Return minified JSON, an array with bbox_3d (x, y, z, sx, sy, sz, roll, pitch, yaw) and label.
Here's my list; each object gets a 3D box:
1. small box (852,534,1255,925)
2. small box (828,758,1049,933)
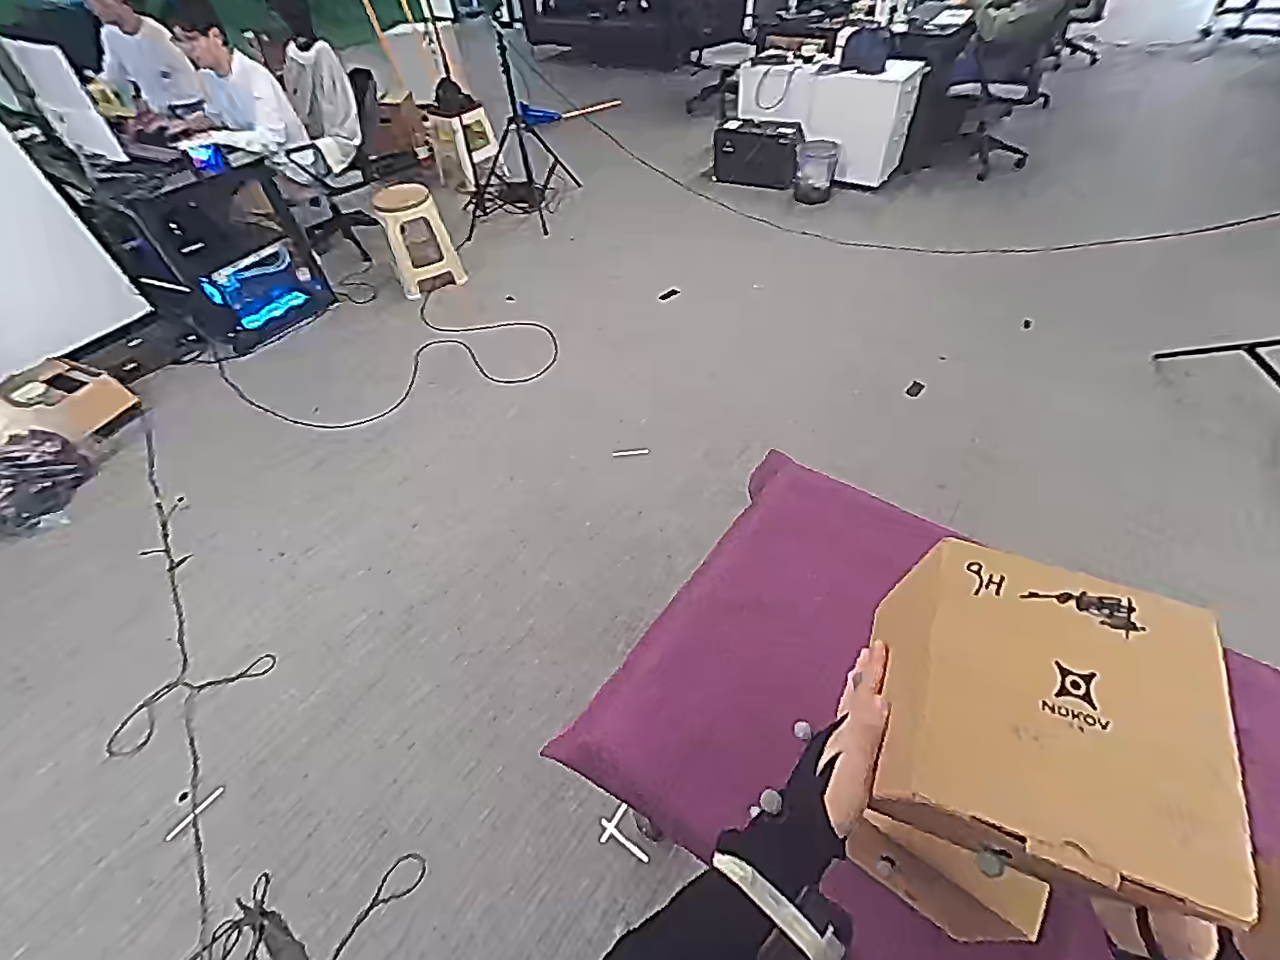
[{"bbox_3d":[0.269,0.170,0.396,0.168,0.176,0.179,17,63,13],"label":"small box"},{"bbox_3d":[0.323,0.348,0.589,0.168,0.176,0.179,29,56,26],"label":"small box"}]
